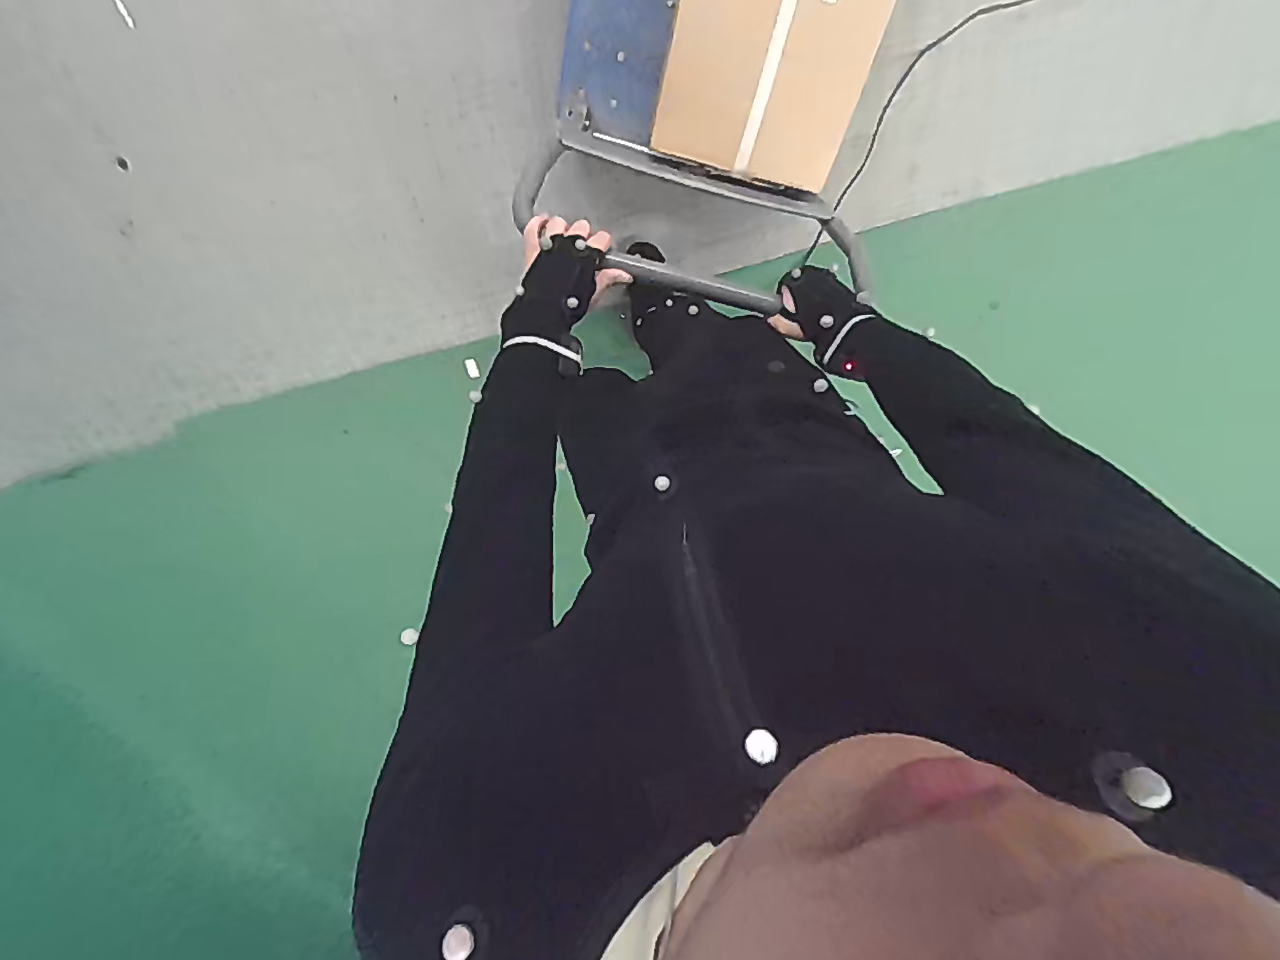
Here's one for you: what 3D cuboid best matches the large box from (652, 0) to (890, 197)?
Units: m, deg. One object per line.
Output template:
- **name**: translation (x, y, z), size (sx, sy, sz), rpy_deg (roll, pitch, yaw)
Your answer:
- **large box**: translation (0.214, -0.776, 0.964), size (0.320, 0.320, 0.408), rpy_deg (11, 125, -7)
